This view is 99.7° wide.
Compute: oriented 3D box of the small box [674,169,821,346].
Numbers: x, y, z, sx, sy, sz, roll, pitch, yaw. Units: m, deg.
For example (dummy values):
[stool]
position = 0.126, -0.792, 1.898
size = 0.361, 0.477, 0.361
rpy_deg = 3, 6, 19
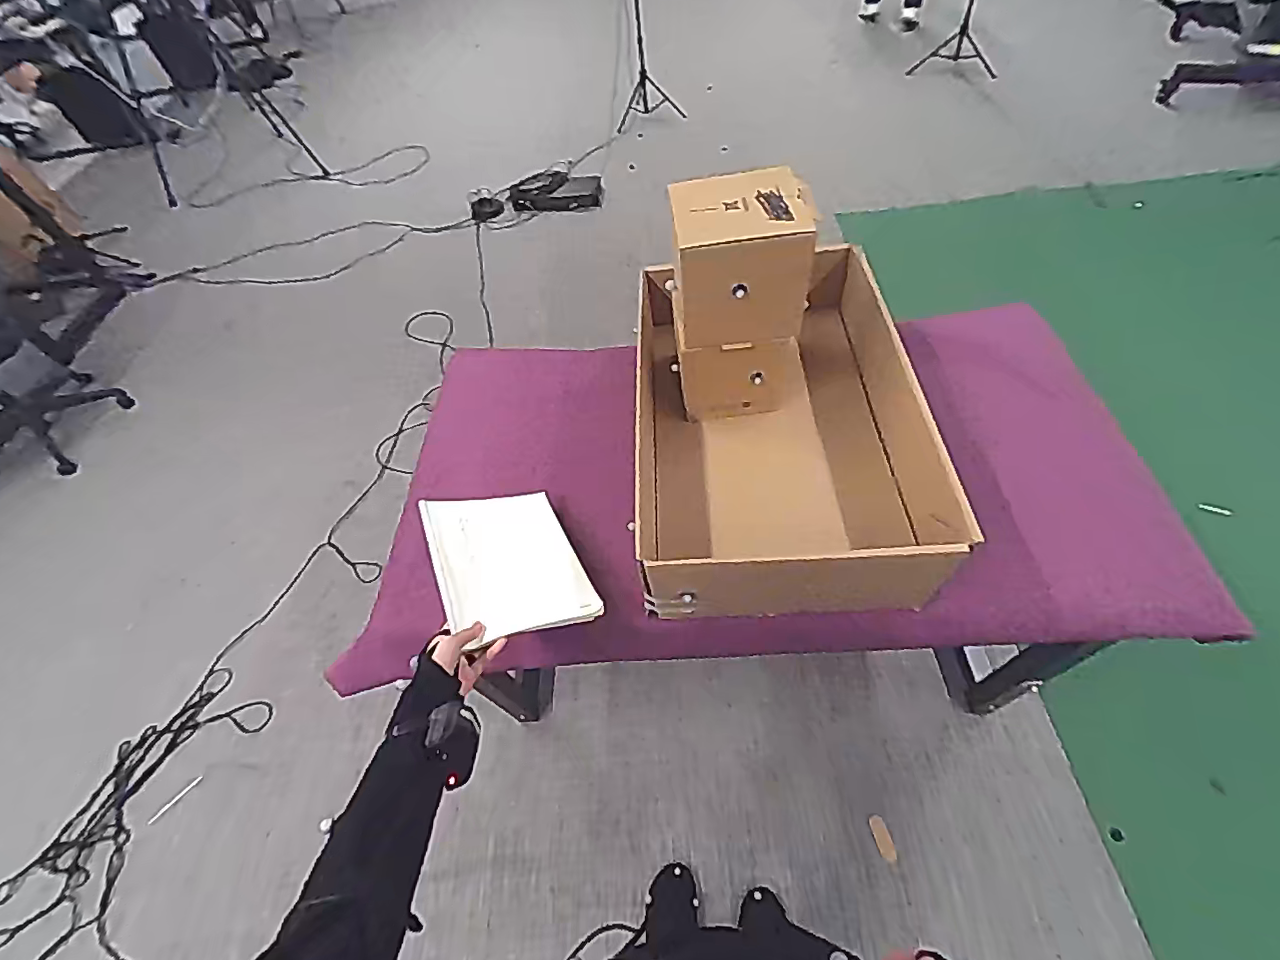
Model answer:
[small box]
position = 0.144, -0.317, 0.786
size = 0.179, 0.176, 0.168
rpy_deg = -6, 55, 4
